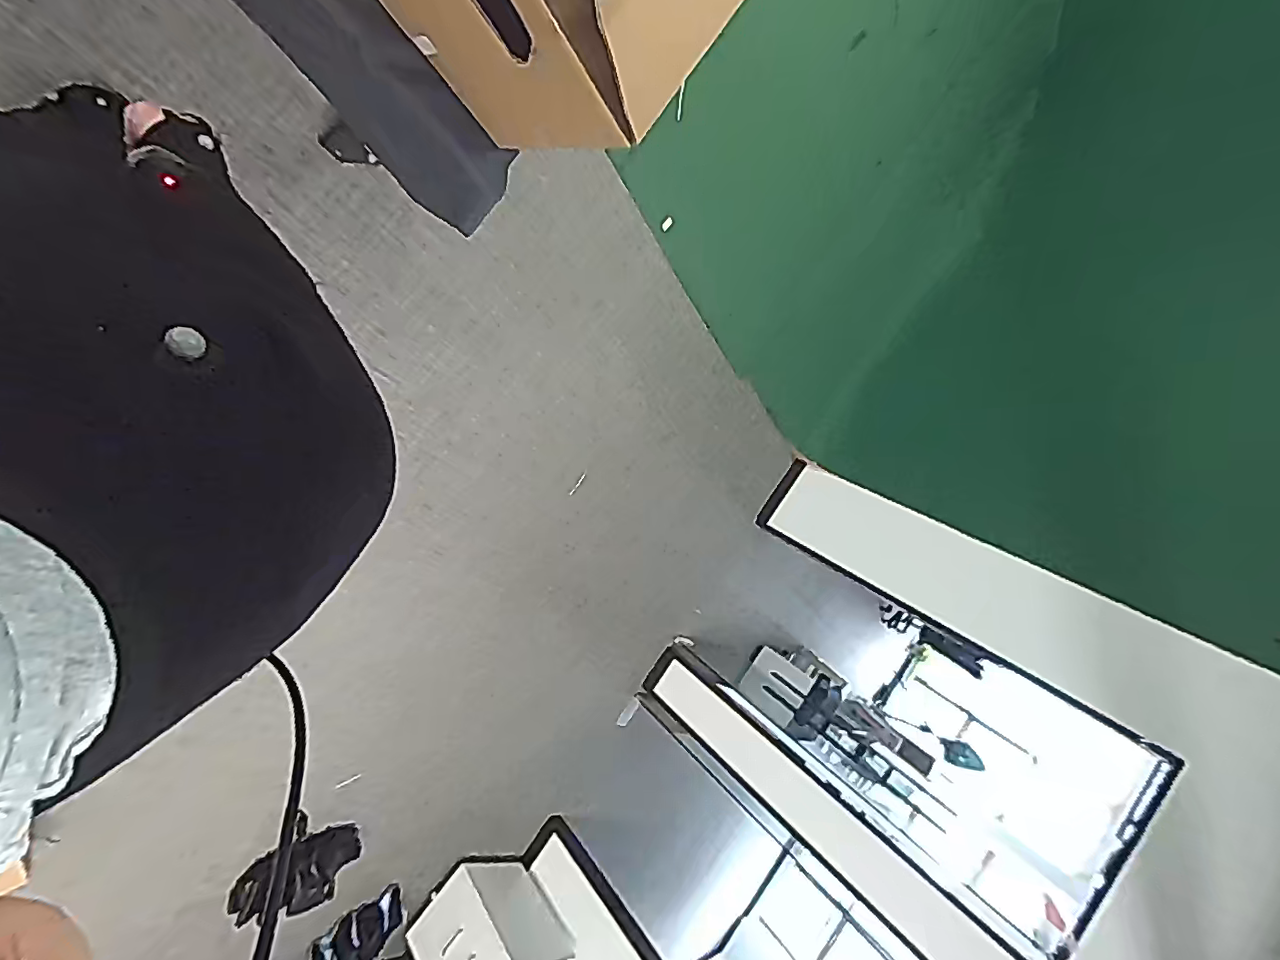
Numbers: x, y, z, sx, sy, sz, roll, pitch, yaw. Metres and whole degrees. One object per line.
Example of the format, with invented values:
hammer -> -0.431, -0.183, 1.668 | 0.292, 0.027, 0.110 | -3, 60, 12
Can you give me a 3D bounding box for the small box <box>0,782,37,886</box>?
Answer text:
small box -> -1.570, 0.854, 1.279 | 0.168, 0.176, 0.179 | -11, 124, -41
